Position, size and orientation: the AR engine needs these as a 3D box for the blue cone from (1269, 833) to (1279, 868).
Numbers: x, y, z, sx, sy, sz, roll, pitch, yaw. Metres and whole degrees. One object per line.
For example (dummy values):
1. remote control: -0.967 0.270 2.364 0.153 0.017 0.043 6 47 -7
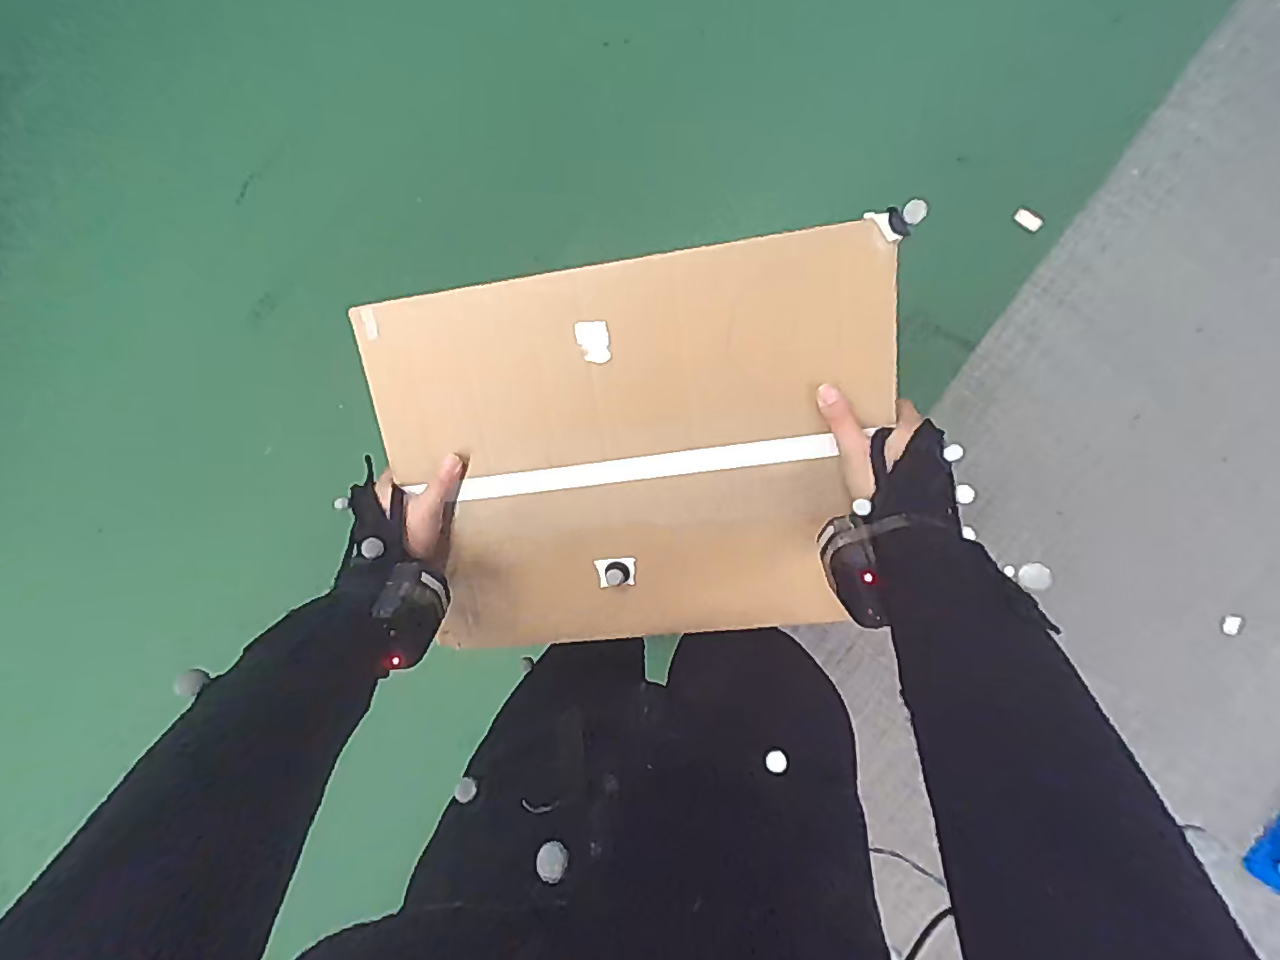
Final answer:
1. blue cone: 1.255 0.668 0.824 0.193 0.380 0.192 35 94 8
